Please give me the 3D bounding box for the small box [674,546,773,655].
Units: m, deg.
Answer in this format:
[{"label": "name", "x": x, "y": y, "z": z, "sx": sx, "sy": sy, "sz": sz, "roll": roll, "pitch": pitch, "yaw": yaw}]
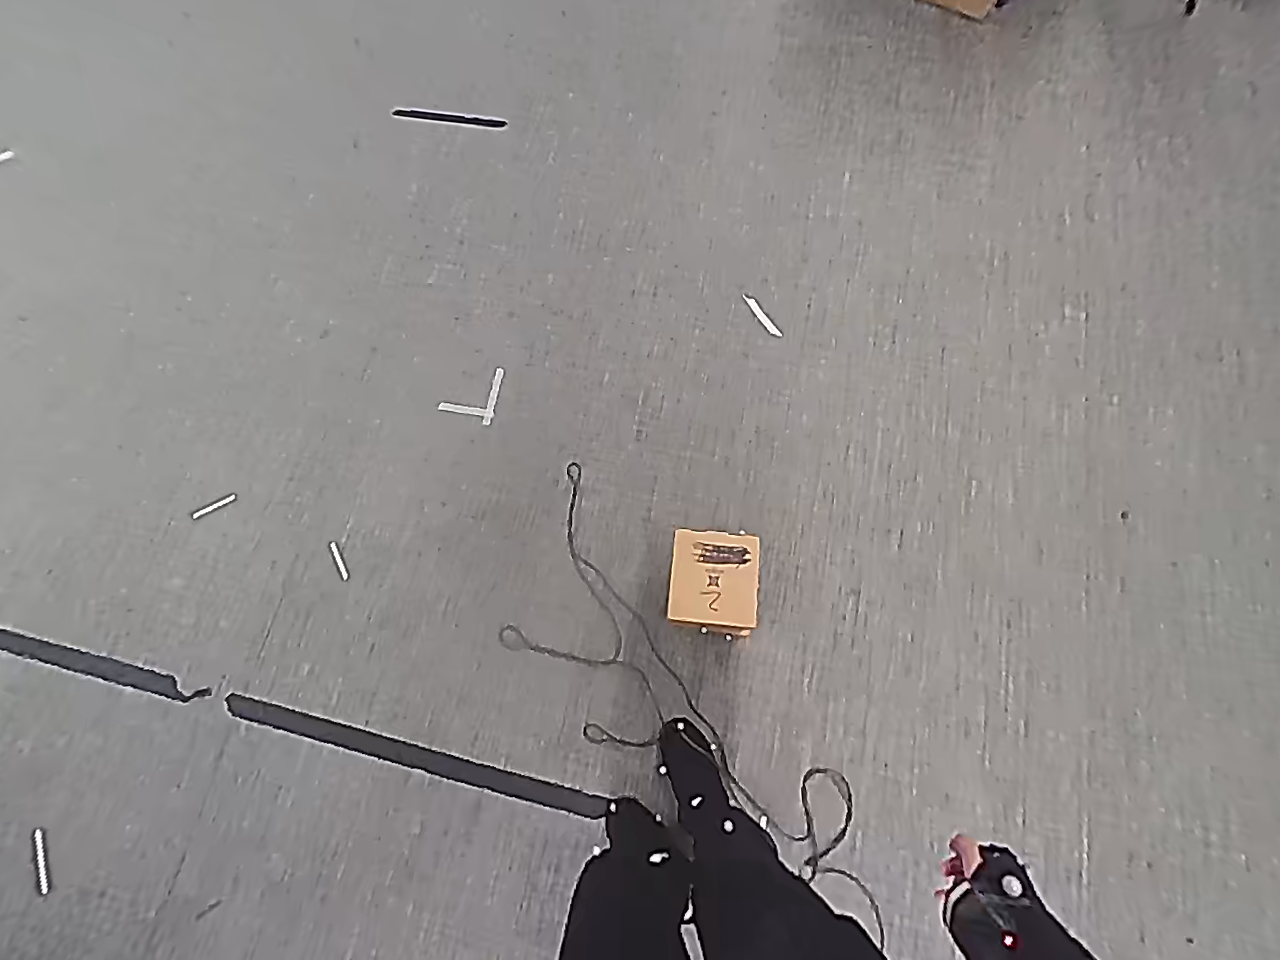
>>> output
[{"label": "small box", "x": 0.183, "y": 0.271, "z": 1.204, "sx": 0.168, "sy": 0.176, "sz": 0.179, "roll": 14, "pitch": 55, "yaw": -12}]
